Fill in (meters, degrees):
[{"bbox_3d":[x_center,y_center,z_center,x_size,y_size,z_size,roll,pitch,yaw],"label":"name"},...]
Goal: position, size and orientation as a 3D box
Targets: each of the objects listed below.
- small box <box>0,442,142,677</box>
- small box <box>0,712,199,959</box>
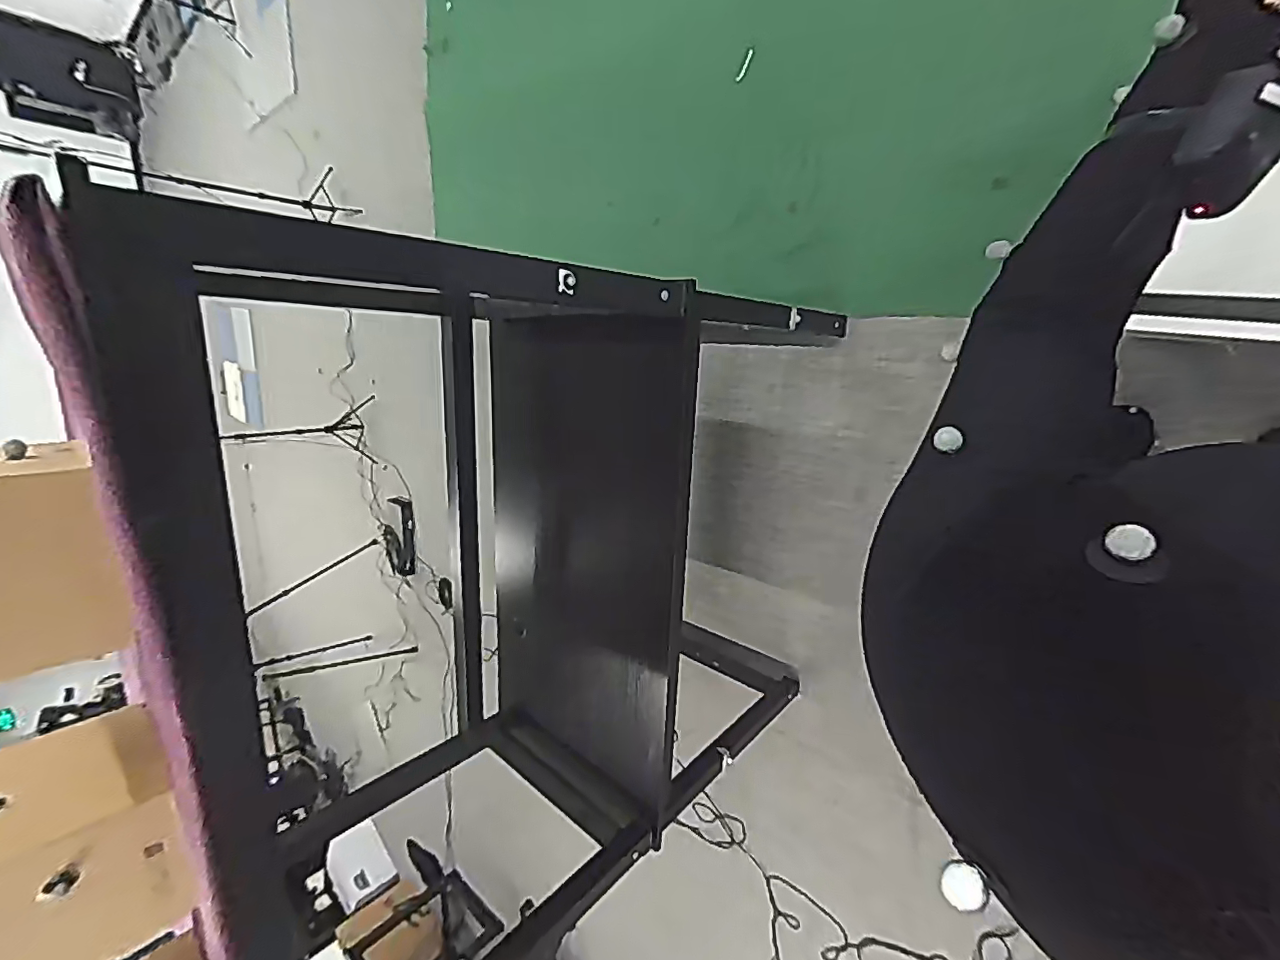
[{"bbox_3d":[-0.577,0.070,0.484,0.168,0.176,0.179,14,109,42],"label":"small box"},{"bbox_3d":[-0.577,0.374,0.554,0.179,0.176,0.168,18,110,39],"label":"small box"}]
